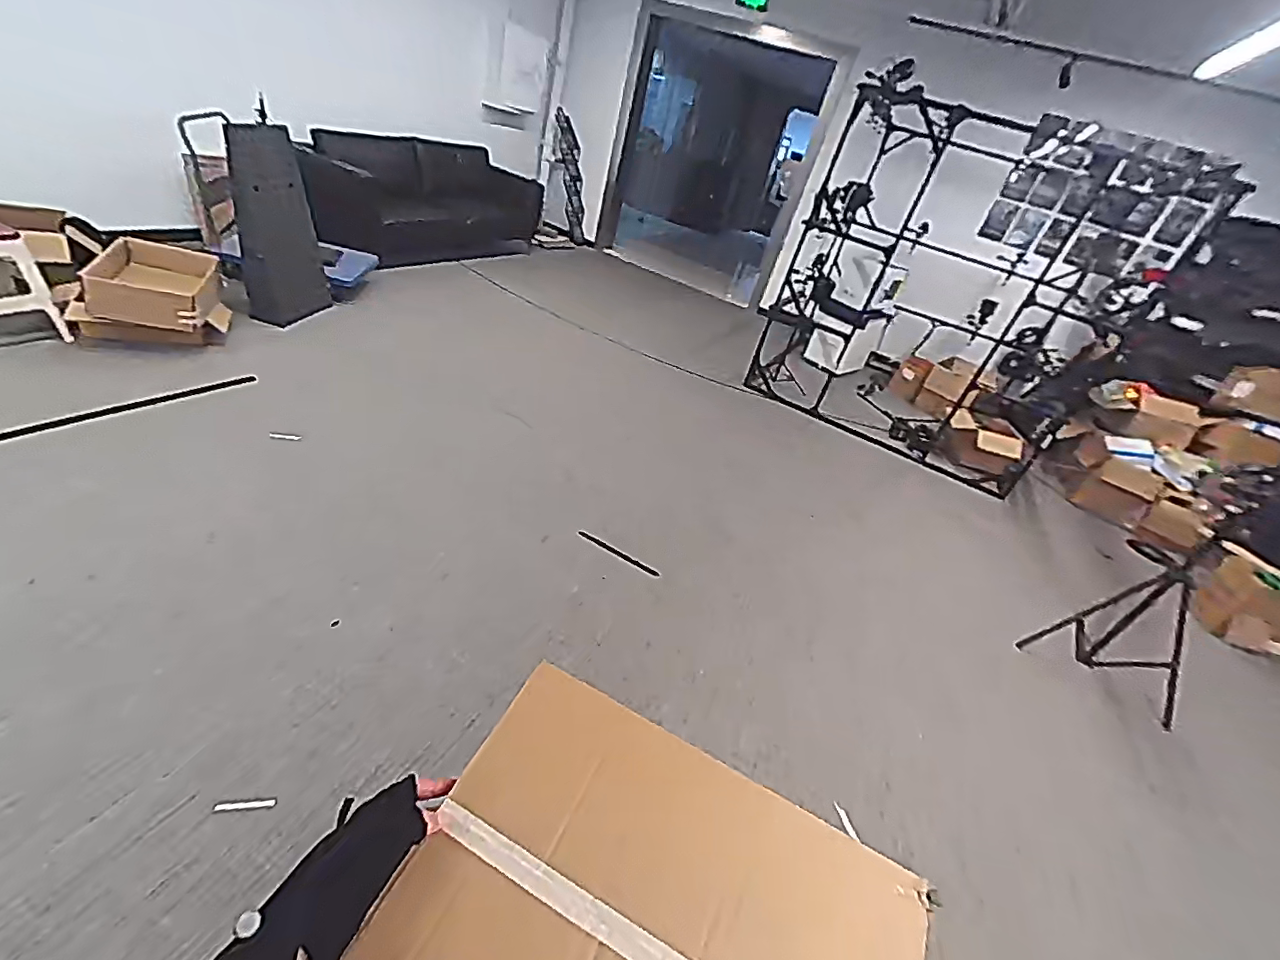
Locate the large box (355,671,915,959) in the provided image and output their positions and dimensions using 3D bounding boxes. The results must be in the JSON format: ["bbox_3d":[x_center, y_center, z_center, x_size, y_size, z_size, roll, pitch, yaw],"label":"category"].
[{"bbox_3d":[-0.012,0.474,0.542,0.408,0.320,0.320,26,48,13],"label":"large box"}]
